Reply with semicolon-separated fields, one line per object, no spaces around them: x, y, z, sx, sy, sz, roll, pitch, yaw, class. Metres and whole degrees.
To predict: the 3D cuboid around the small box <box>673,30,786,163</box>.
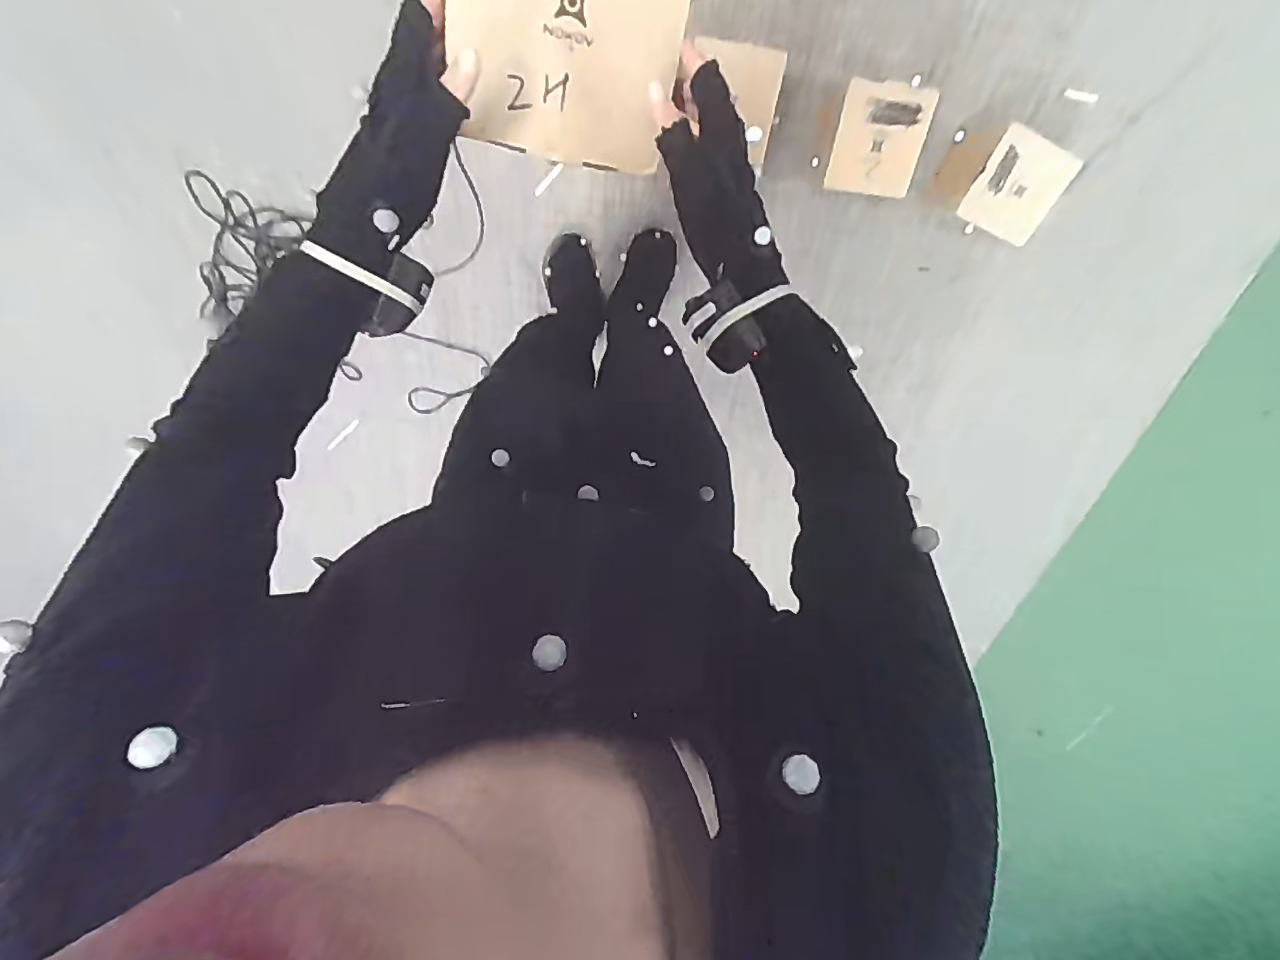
0.158;-0.719;1.028;0.168;0.176;0.179;6;123;-4;small box

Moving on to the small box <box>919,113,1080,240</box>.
0.714;-0.614;1.099;0.179;0.176;0.168;18;121;-13;small box
